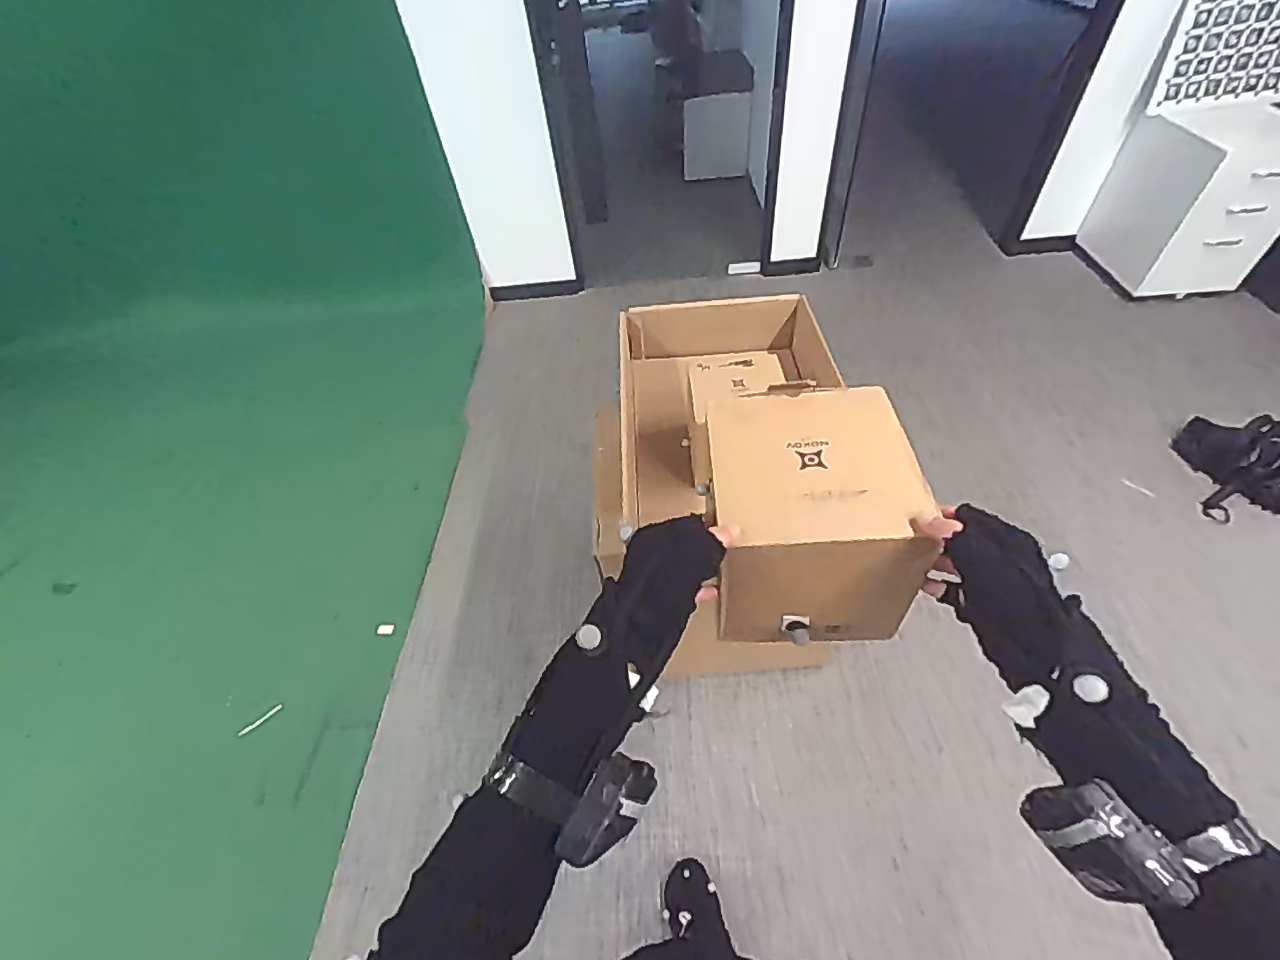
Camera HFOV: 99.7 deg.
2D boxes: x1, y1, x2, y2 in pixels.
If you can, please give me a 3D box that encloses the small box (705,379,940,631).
[{"bbox_3d":[0.149,0.026,0.517,0.168,0.176,0.179,-3,48,5],"label":"small box"}]
